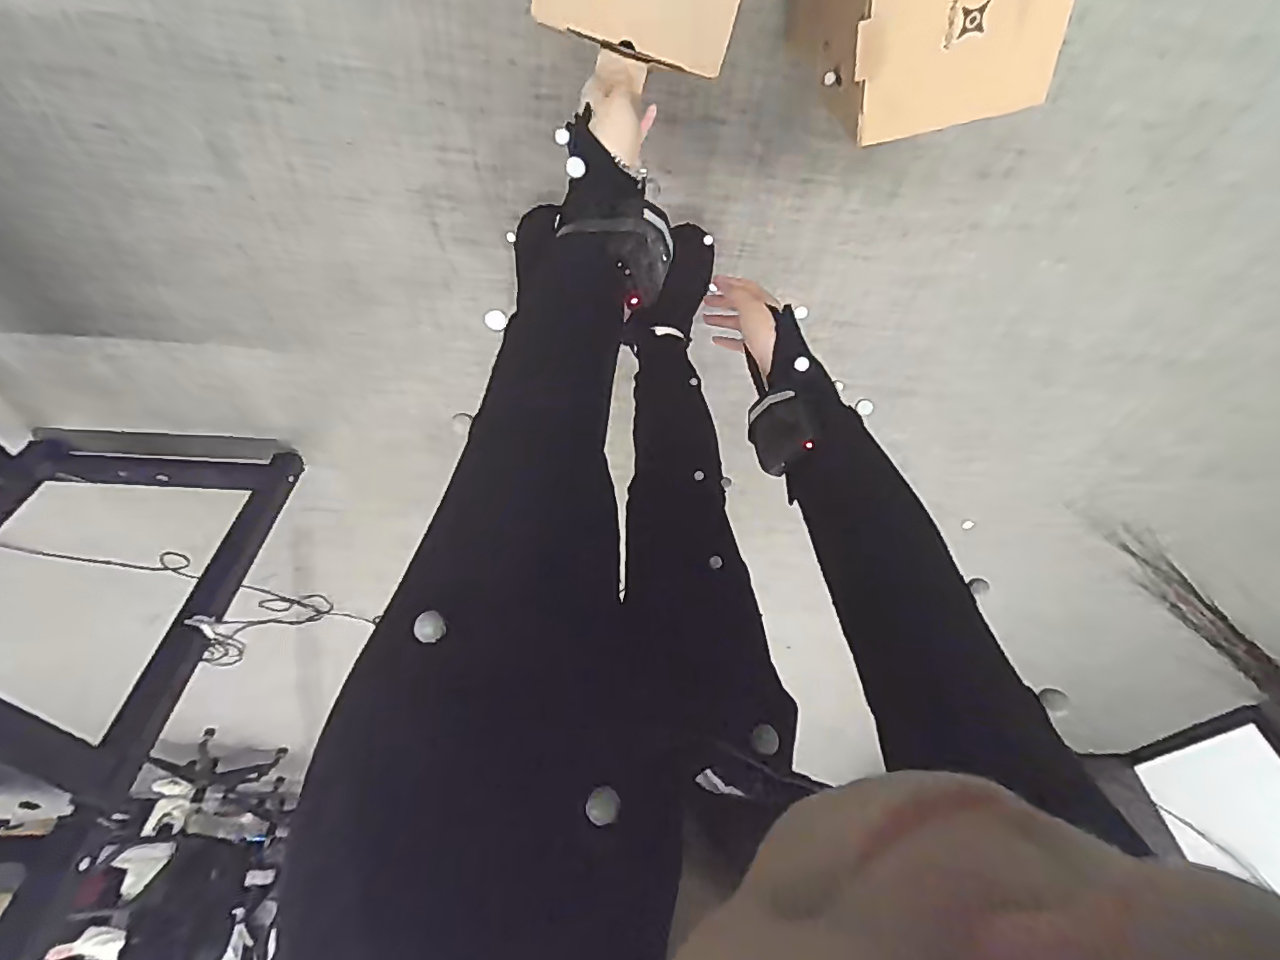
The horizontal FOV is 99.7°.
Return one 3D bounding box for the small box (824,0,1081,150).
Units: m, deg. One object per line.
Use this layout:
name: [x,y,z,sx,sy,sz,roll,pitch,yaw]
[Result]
small box: [0.283,-0.450,0.516,0.179,0.176,0.168,-10,138,8]
